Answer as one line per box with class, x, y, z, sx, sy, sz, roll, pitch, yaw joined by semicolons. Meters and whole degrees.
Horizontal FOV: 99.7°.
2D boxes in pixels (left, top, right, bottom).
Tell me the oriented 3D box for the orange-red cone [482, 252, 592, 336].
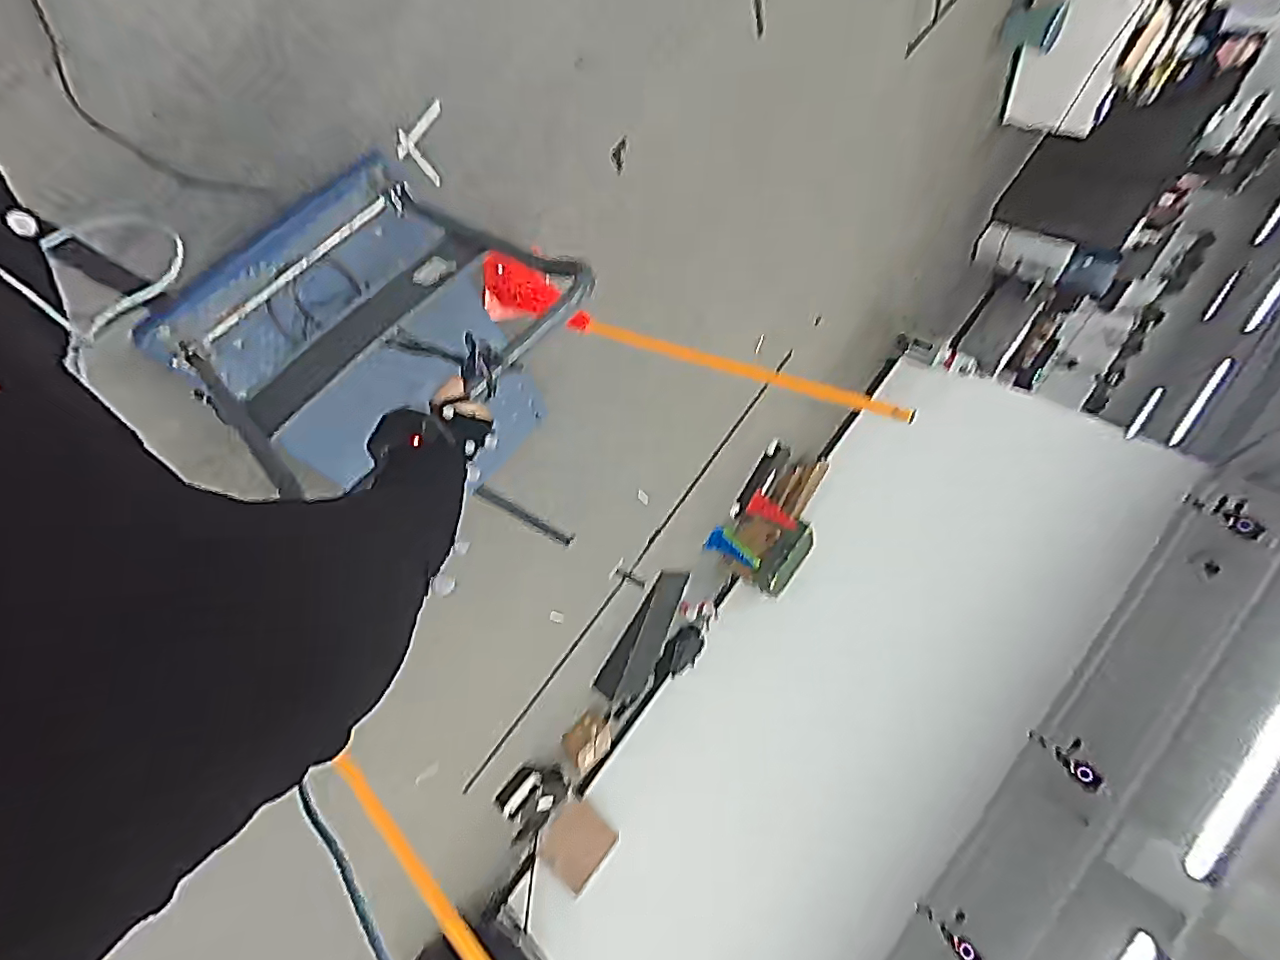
orange-red cone;-0.266;-0.494;1.546;0.198;0.360;0.199;-24;140;-43
